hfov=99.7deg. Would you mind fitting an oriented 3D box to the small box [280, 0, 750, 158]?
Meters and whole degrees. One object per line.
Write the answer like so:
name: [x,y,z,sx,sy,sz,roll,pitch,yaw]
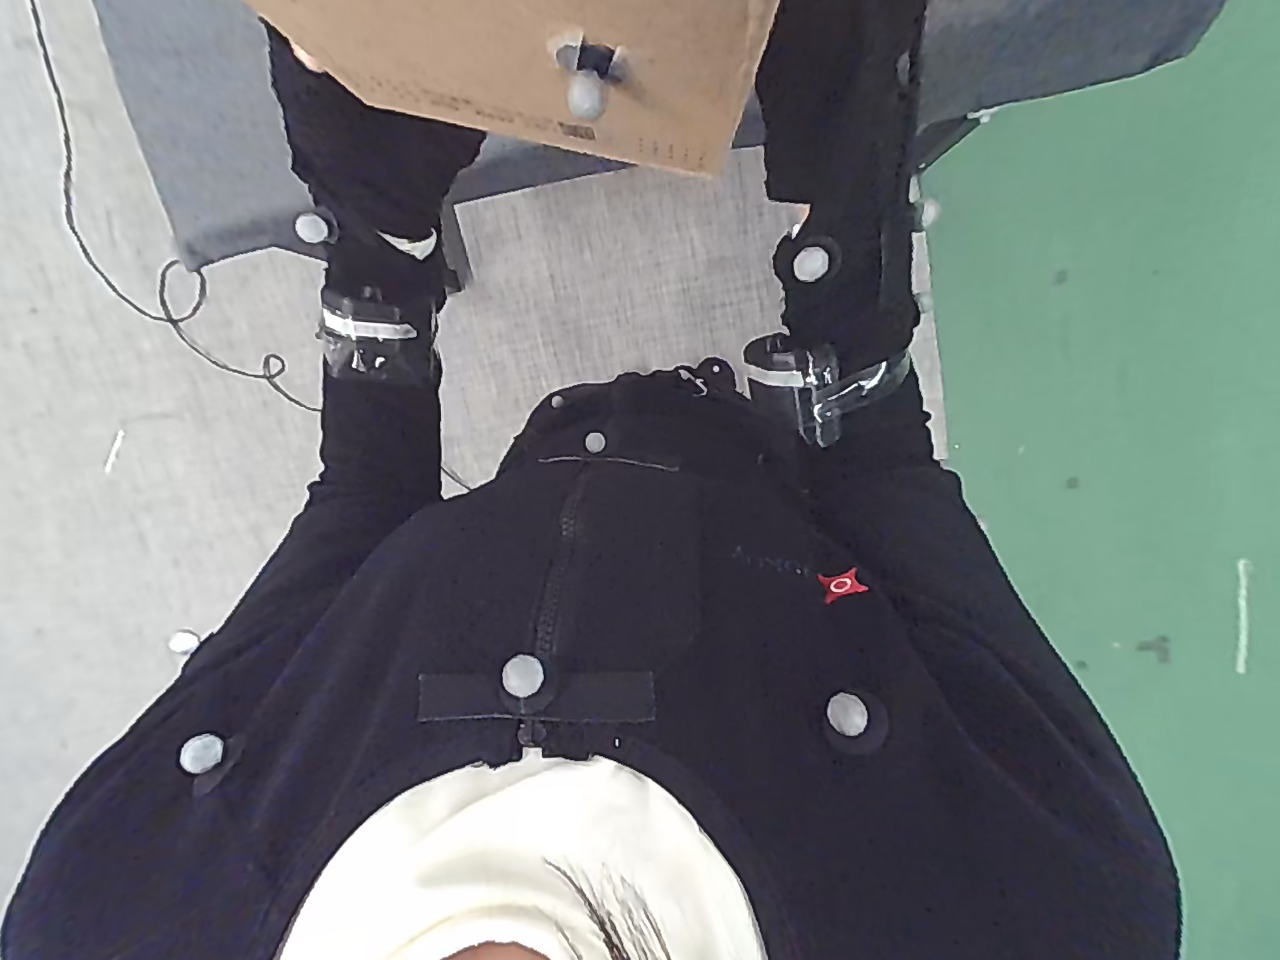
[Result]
small box: [-0.033,-0.223,0.153,0.168,0.176,0.179,12,103,-2]
